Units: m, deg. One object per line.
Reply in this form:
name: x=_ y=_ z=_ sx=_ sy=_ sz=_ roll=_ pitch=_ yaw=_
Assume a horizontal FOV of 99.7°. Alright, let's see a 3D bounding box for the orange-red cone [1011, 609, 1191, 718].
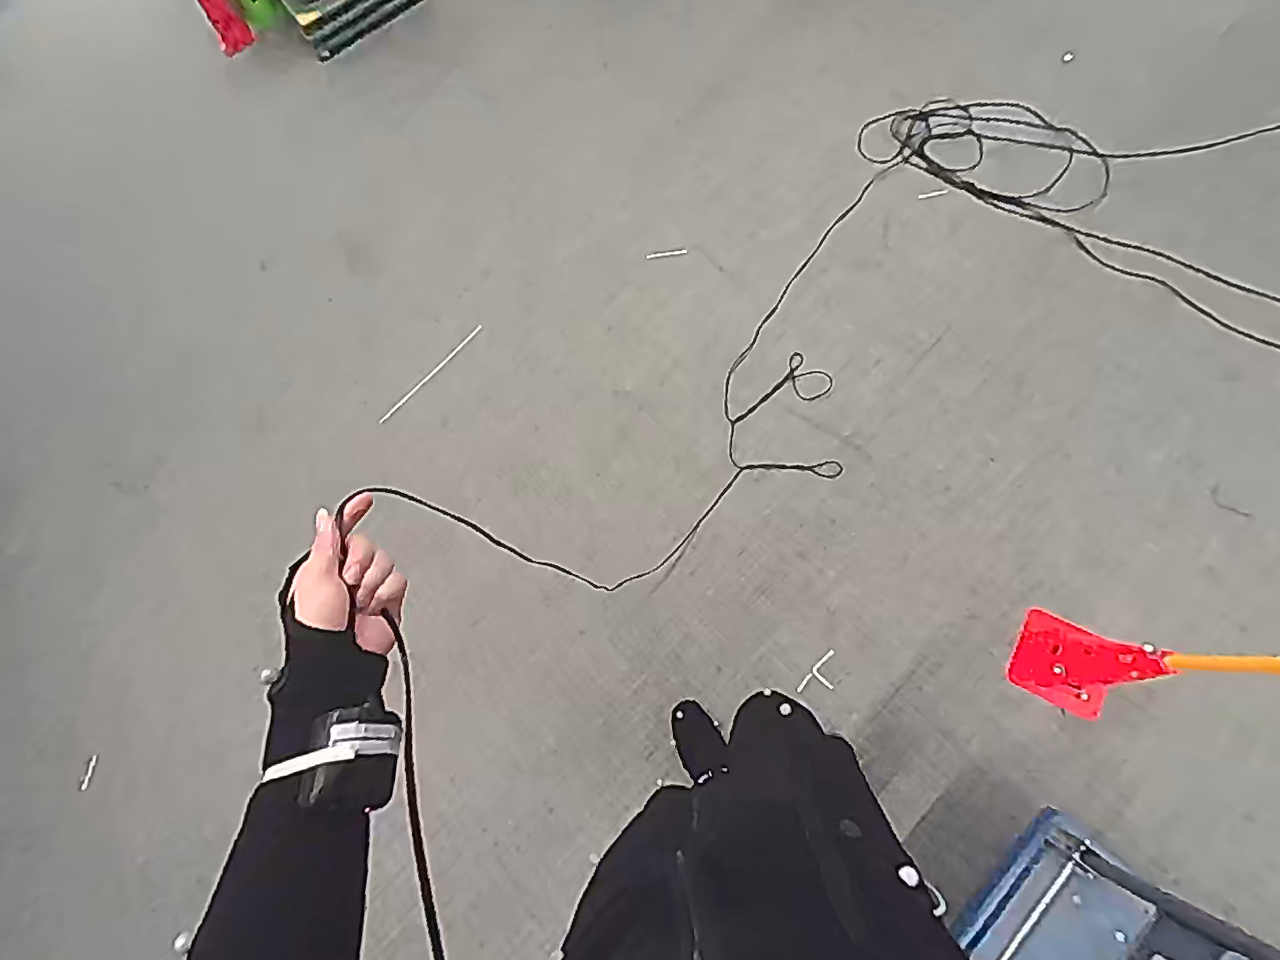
orange-red cone: x=0.982 y=0.375 z=1.123 sx=0.198 sy=0.360 sz=0.199 roll=27 pitch=77 yaw=17
